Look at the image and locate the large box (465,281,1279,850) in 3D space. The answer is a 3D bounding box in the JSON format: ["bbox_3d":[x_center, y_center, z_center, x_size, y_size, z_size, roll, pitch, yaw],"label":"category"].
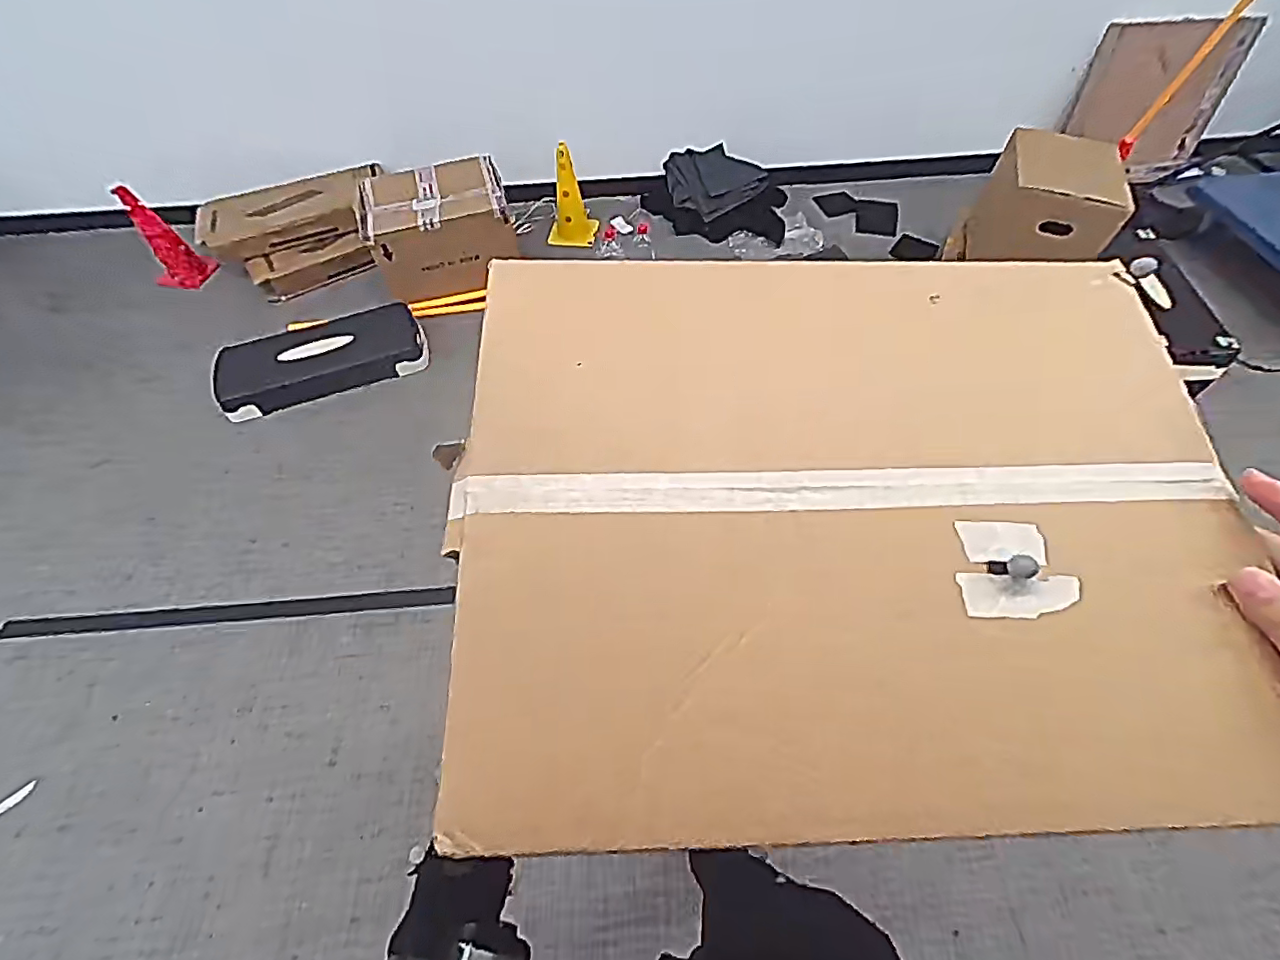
[{"bbox_3d":[0.106,0.067,0.435,0.408,0.320,0.320,-1,68,-3],"label":"large box"}]
